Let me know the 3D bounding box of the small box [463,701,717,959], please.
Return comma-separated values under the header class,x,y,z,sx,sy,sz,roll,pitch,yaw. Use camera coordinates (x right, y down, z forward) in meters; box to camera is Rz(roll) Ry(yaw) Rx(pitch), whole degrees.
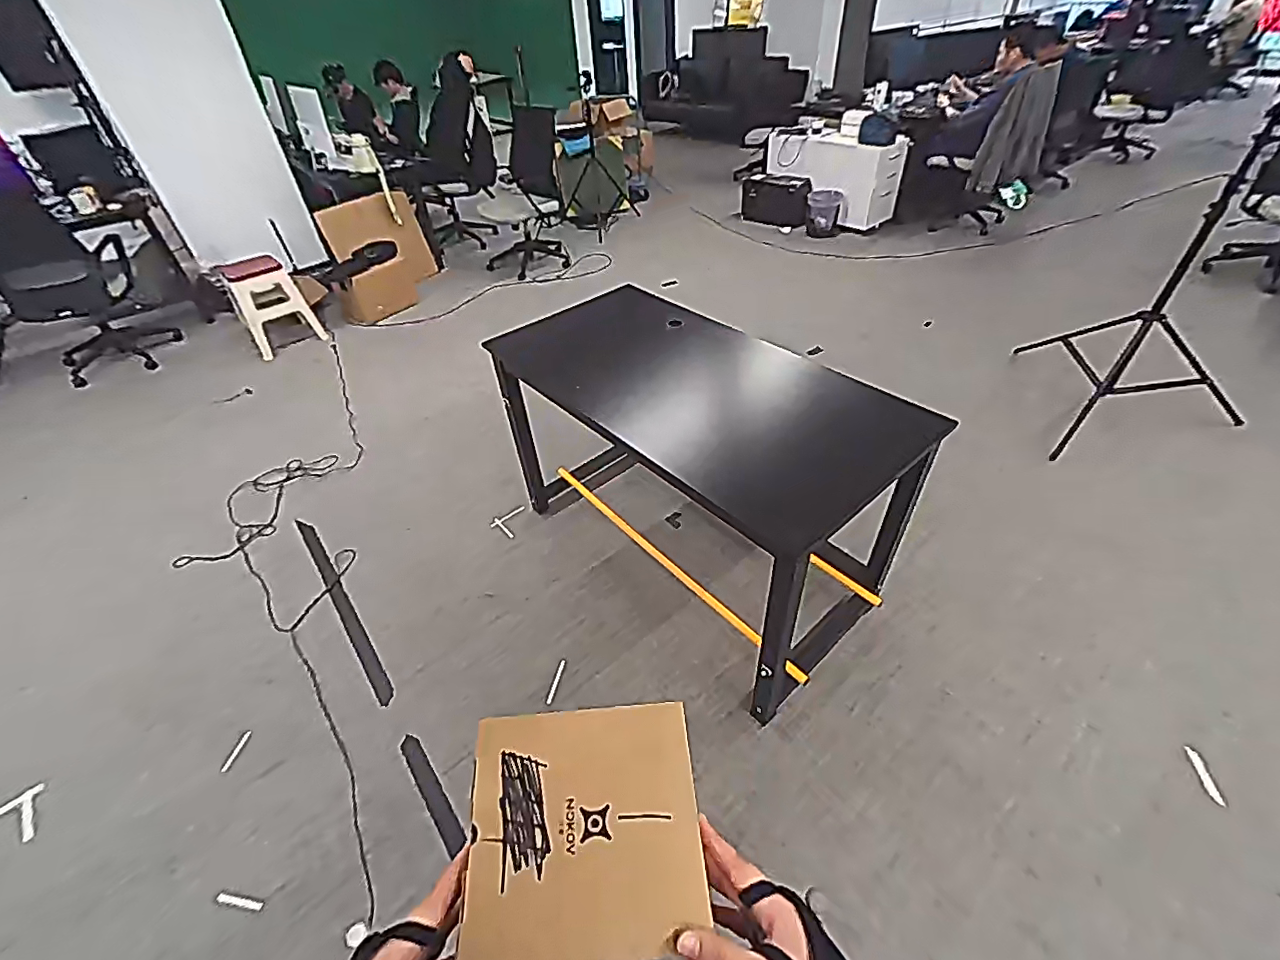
class,x,y,z,sx,sy,sz,roll,pitch,yaw
small box,-0.040,0.311,0.475,0.179,0.176,0.168,-3,51,-5
